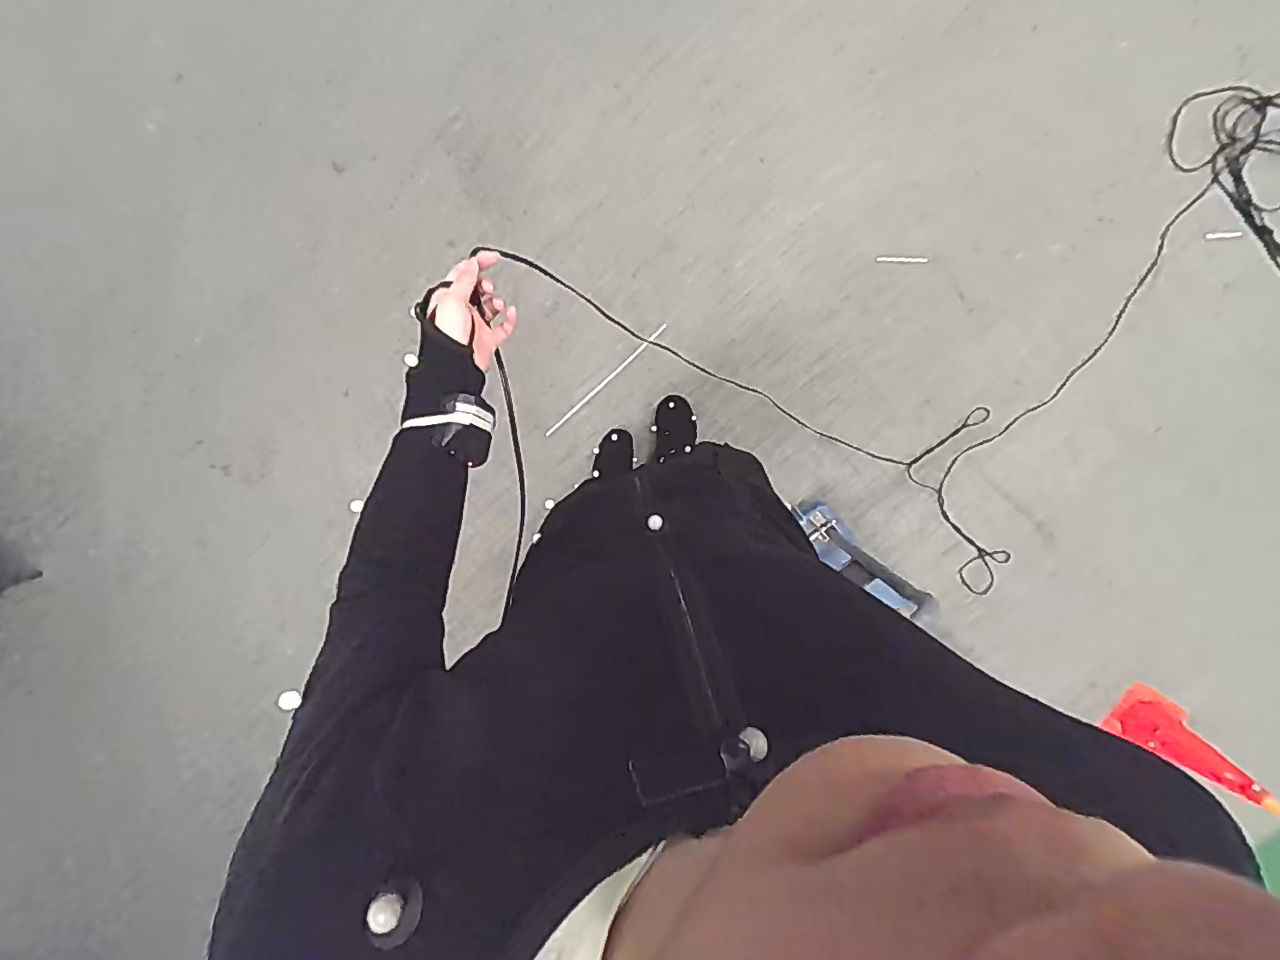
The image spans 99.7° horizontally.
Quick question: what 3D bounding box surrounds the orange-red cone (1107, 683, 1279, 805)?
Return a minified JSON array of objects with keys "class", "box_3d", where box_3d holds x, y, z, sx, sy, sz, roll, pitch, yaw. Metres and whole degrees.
[{"class":"orange-red cone","box_3d":[1.587,0.770,1.519,0.198,0.360,0.199,34,96,-4]}]
